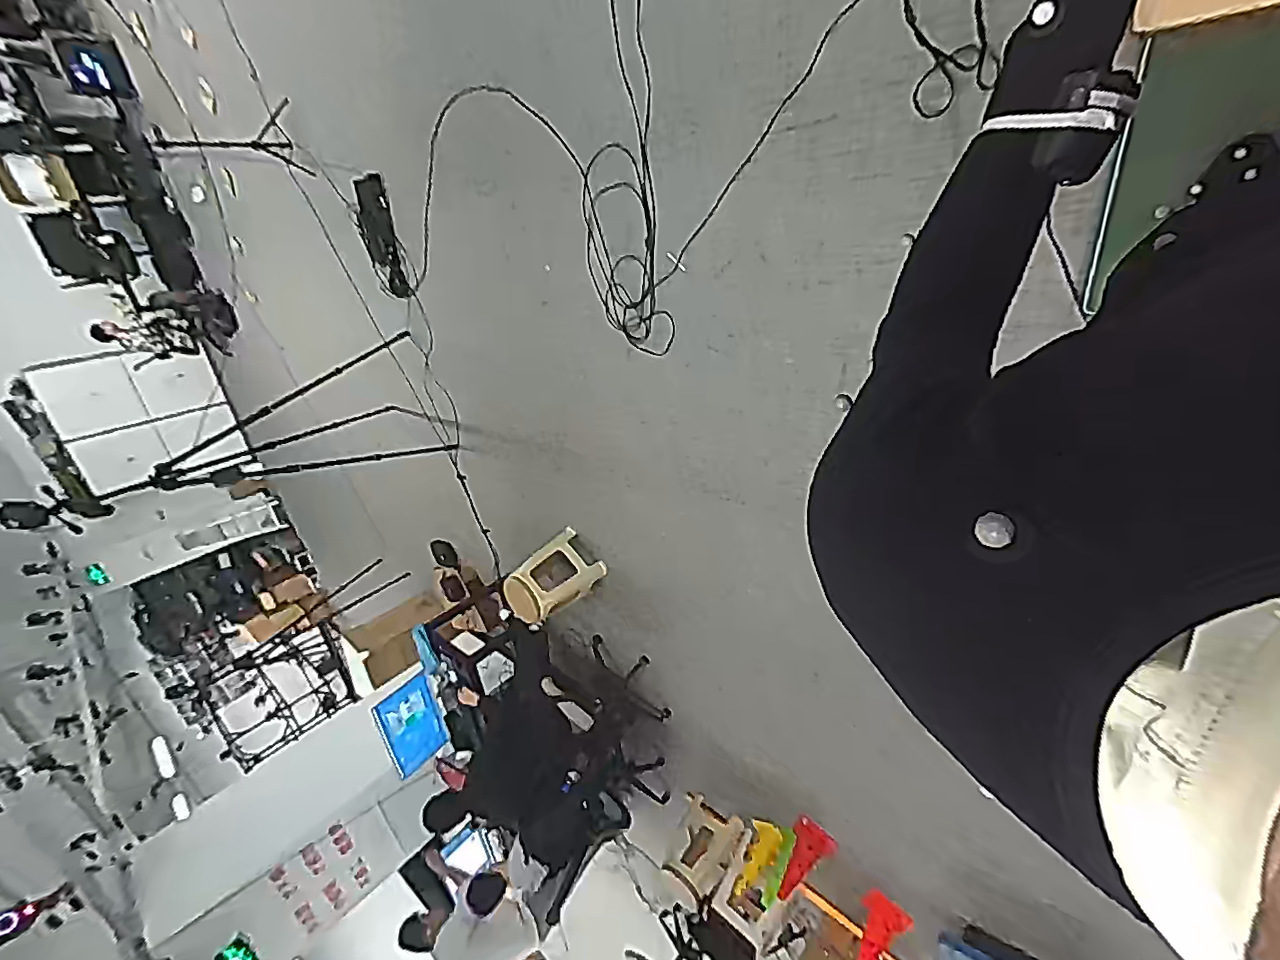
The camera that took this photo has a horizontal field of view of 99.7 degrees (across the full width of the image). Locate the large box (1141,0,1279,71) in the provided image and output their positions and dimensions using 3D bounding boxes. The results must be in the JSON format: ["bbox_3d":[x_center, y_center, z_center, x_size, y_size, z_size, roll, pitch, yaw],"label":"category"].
[{"bbox_3d":[0.582,-0.461,0.287,0.408,0.320,0.320,18,128,40],"label":"large box"}]
